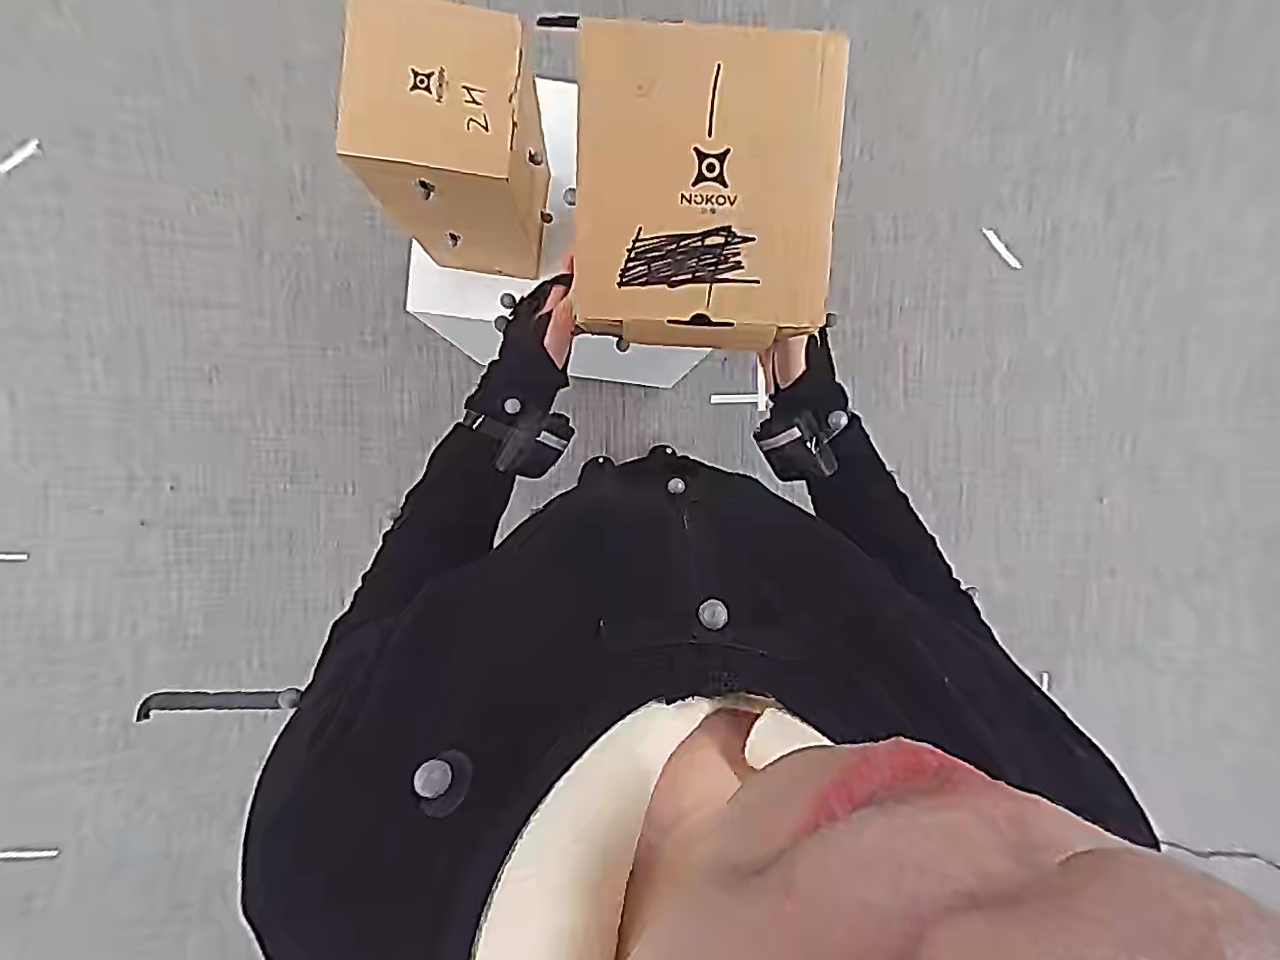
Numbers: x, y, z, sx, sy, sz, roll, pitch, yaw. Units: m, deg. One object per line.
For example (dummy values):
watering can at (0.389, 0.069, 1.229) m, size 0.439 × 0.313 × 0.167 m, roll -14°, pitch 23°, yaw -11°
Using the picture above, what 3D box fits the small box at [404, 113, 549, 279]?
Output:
small box at (-0.228, -0.418, 0.790) m, size 0.168 × 0.176 × 0.179 m, roll 7°, pitch 92°, yaw -4°

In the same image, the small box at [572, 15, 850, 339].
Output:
small box at (0.040, -0.204, 0.417) m, size 0.168 × 0.176 × 0.179 m, roll 2°, pitch 101°, yaw -2°

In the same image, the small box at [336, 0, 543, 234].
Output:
small box at (-0.216, -0.406, 0.626) m, size 0.179 × 0.176 × 0.168 m, roll 6°, pitch 94°, yaw -5°
